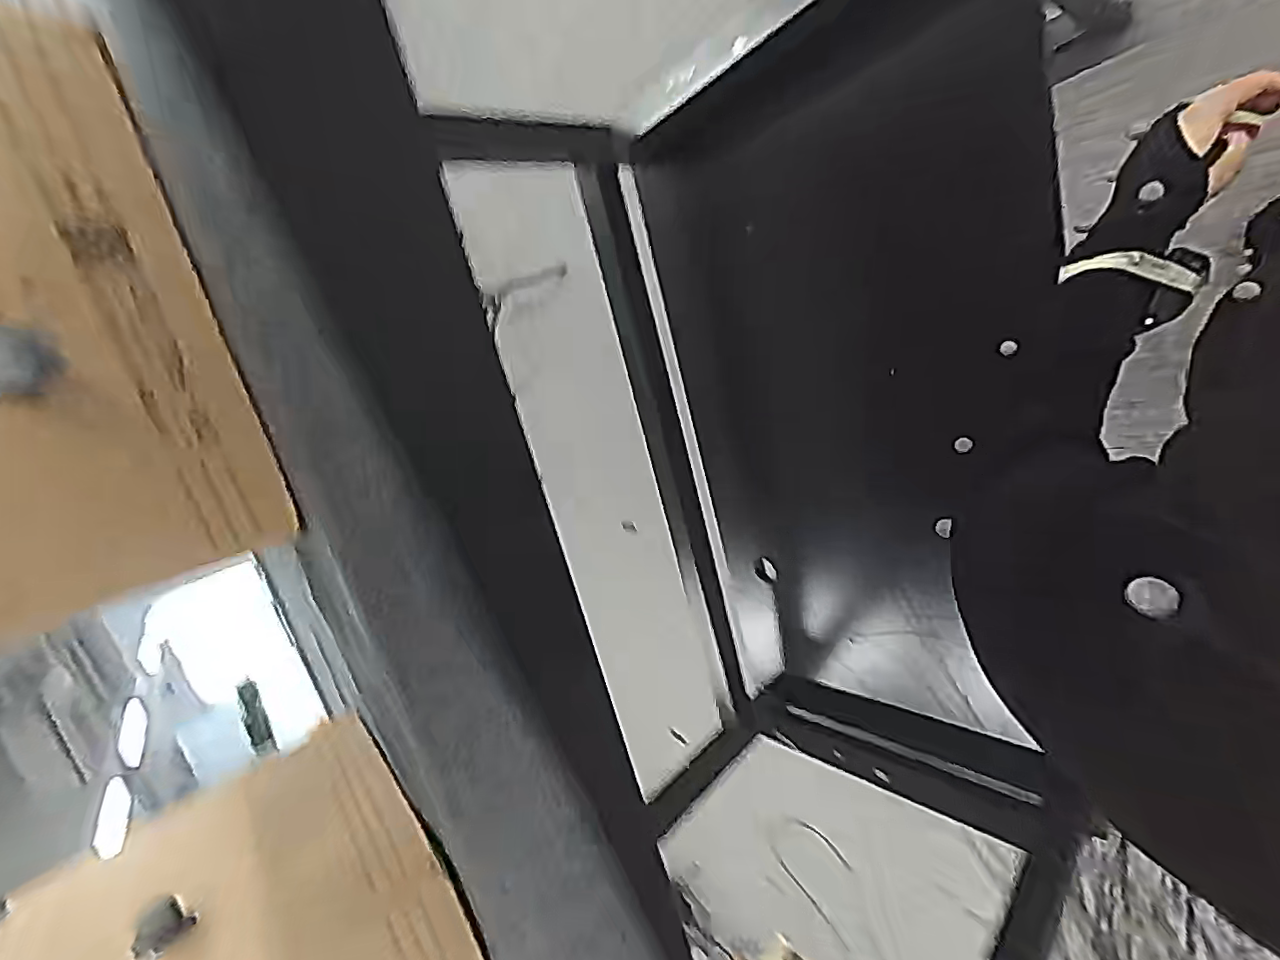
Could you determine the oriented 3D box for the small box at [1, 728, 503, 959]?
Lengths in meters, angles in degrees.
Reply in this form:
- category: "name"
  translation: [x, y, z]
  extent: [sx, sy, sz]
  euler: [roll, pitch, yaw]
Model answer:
- category: "small box"
  translation: [-0.171, 0.261, 0.270]
  extent: [0.179, 0.176, 0.168]
  euler: [1, 109, 52]
